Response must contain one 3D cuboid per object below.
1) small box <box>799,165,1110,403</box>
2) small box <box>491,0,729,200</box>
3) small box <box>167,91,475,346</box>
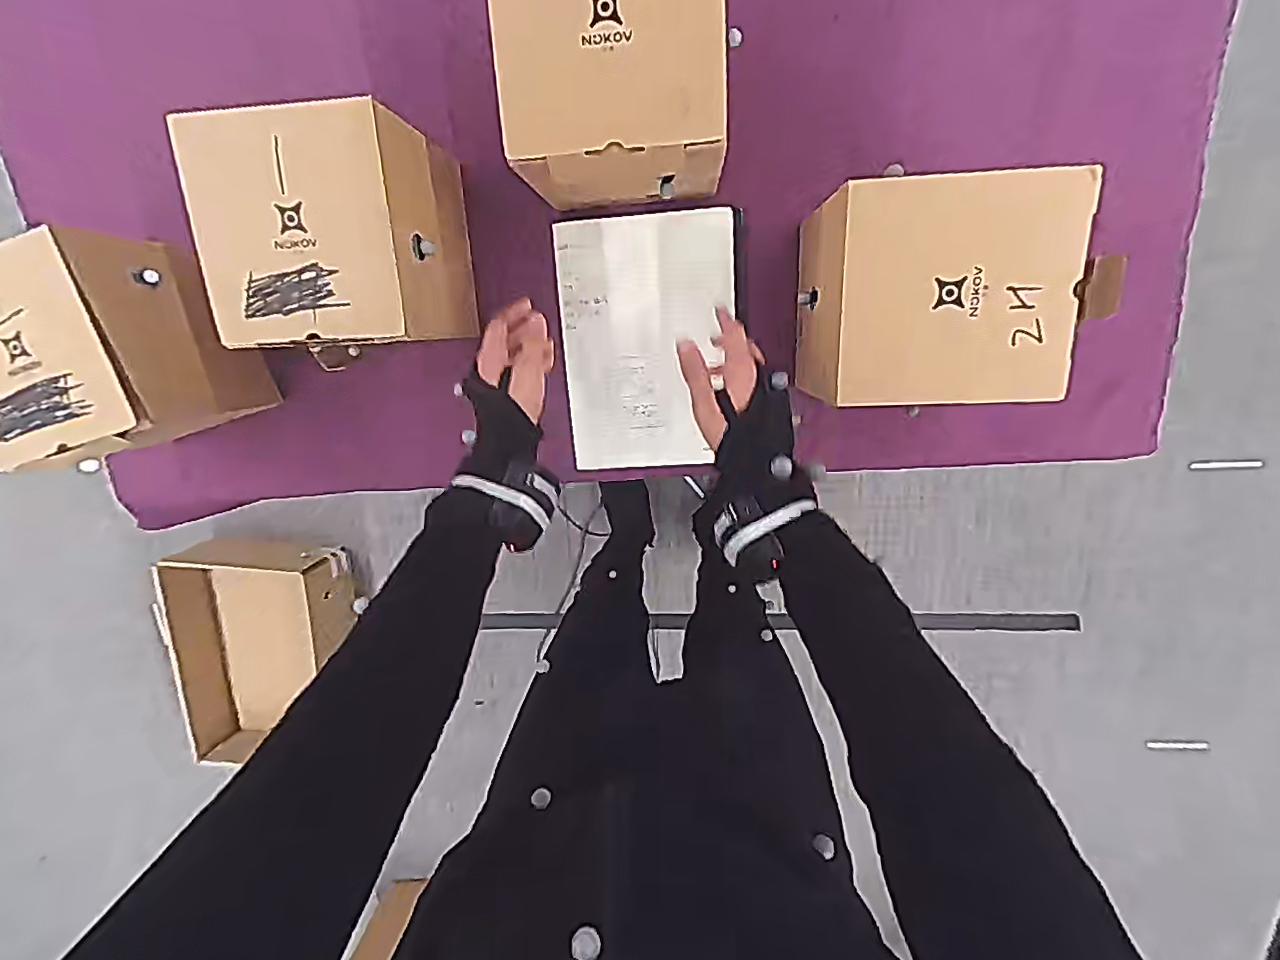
[{"bbox_3d":[0.244,-0.158,0.473,0.179,0.176,0.168,0,105,4],"label":"small box"},{"bbox_3d":[-0.015,-0.342,0.446,0.168,0.176,0.179,-1,105,4],"label":"small box"},{"bbox_3d":[-0.265,-0.219,0.498,0.168,0.176,0.179,-1,104,5],"label":"small box"}]
